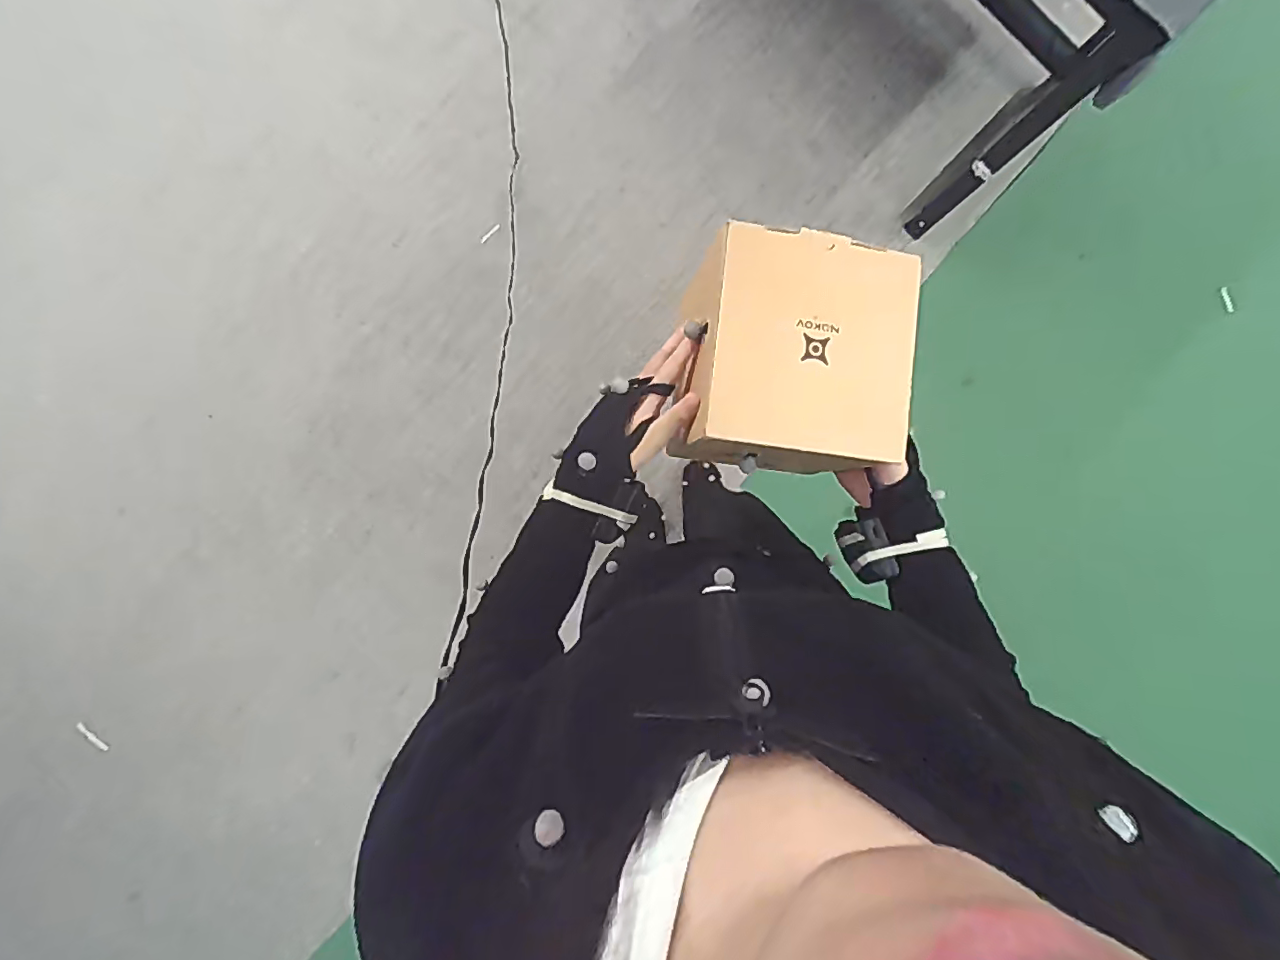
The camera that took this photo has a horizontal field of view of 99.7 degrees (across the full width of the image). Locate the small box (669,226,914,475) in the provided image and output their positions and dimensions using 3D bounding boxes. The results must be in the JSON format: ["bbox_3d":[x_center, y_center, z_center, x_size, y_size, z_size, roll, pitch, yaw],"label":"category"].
[{"bbox_3d":[0.126,-0.102,0.511,0.168,0.176,0.179,8,85,-7],"label":"small box"}]
